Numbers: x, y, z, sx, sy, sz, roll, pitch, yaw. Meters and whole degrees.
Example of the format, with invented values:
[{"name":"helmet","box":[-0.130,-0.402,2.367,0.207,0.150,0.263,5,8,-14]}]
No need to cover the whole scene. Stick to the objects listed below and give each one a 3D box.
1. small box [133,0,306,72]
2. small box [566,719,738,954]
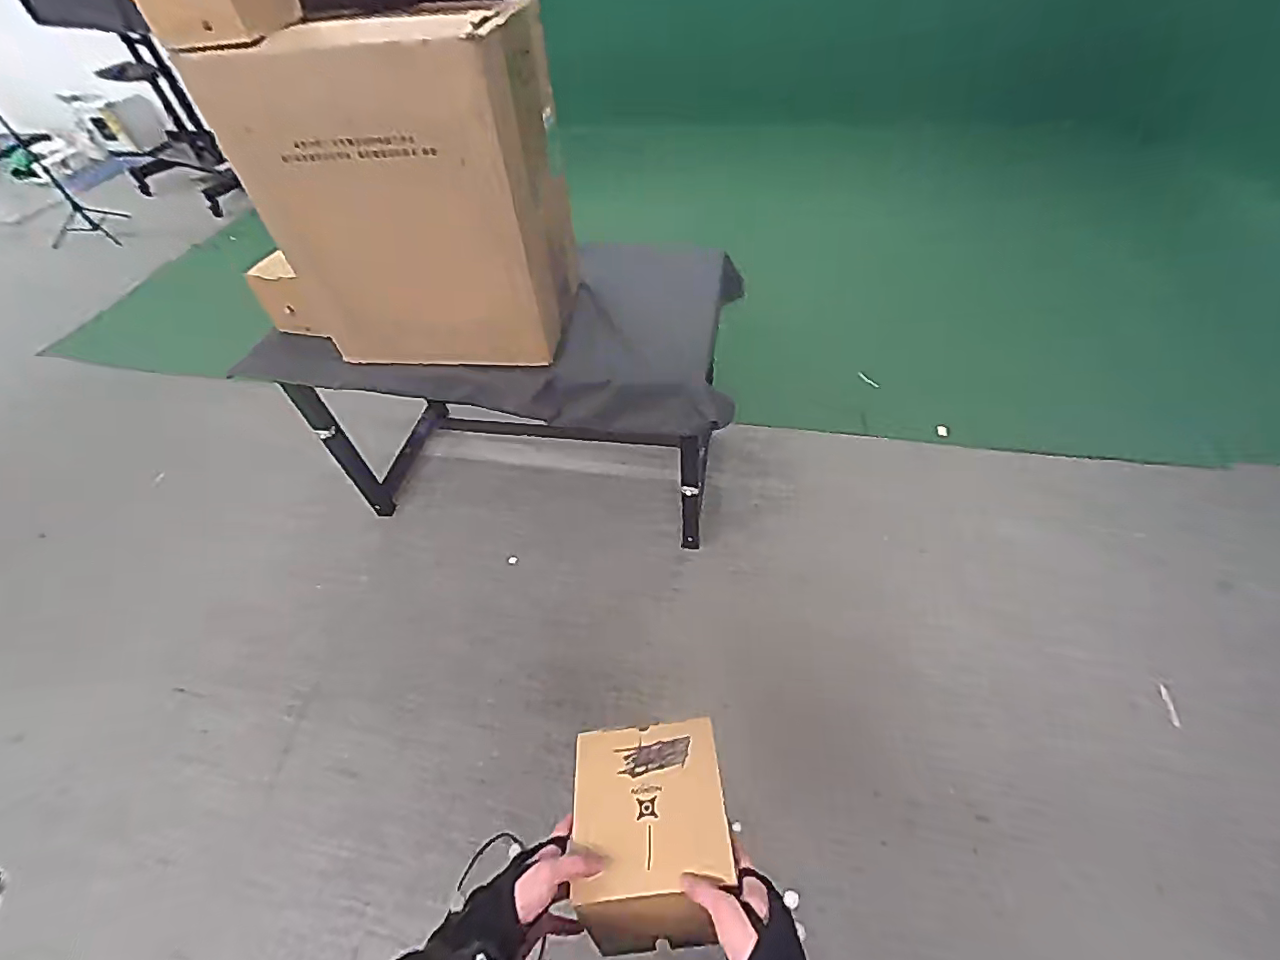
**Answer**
[{"name":"small box","box":[-0.703,-0.798,0.897,0.168,0.176,0.179,2,49,9]},{"name":"small box","box":[0.016,0.420,0.644,0.168,0.176,0.179,-11,35,3]}]
